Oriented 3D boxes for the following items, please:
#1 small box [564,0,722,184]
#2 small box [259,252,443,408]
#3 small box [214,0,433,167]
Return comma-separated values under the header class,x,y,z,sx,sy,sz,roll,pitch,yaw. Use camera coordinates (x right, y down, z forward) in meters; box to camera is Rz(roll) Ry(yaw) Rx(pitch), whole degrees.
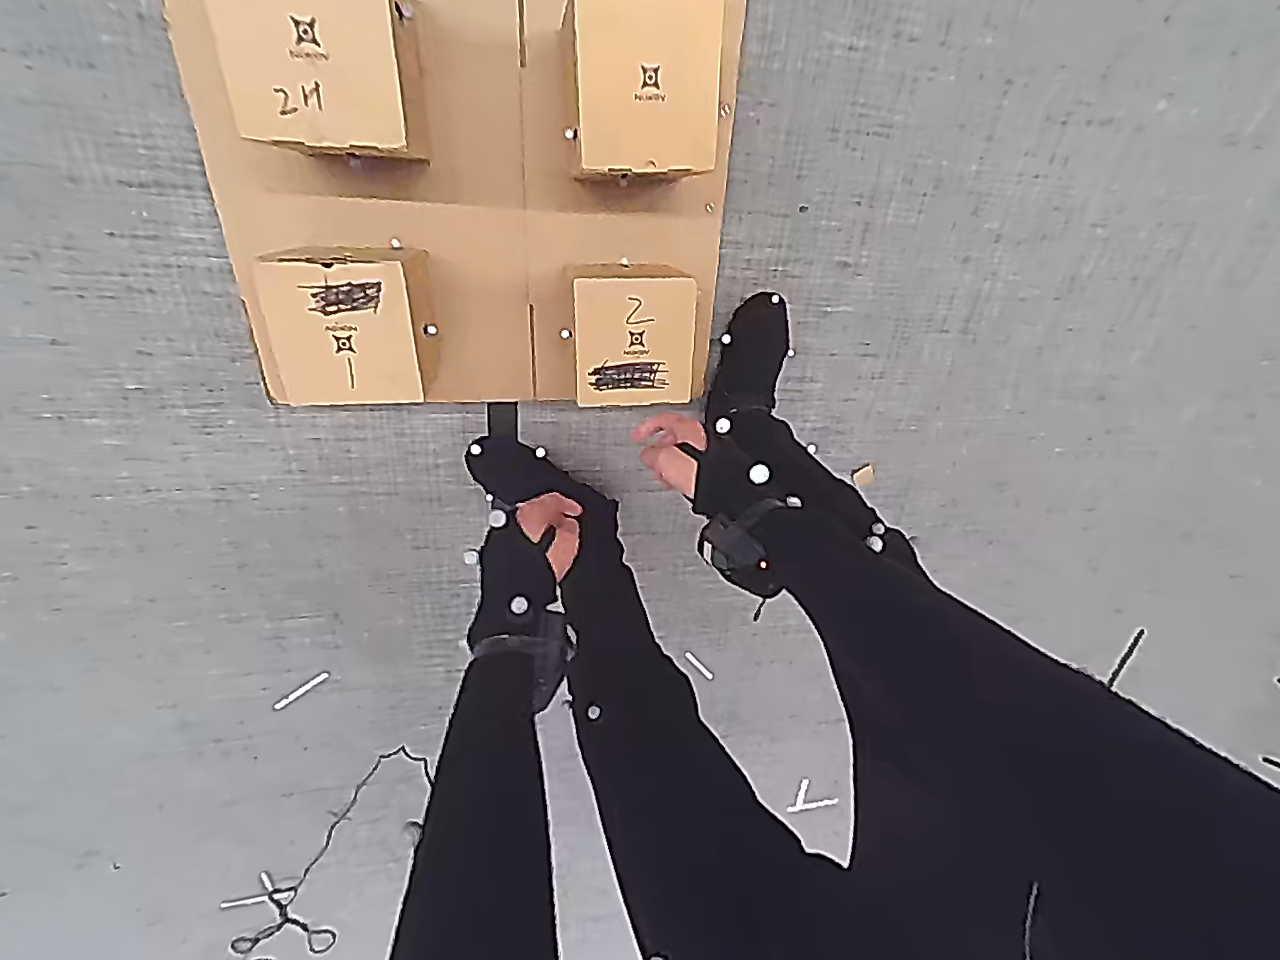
class,x,y,z,sx,sy,sz,roll,pitch,yaw
small box,-0.004,-0.478,0.683,0.168,0.176,0.179,-6,118,-9
small box,-0.373,-0.210,0.736,0.168,0.176,0.179,-3,118,-10
small box,-0.340,-0.464,0.611,0.168,0.176,0.179,-2,117,-10
